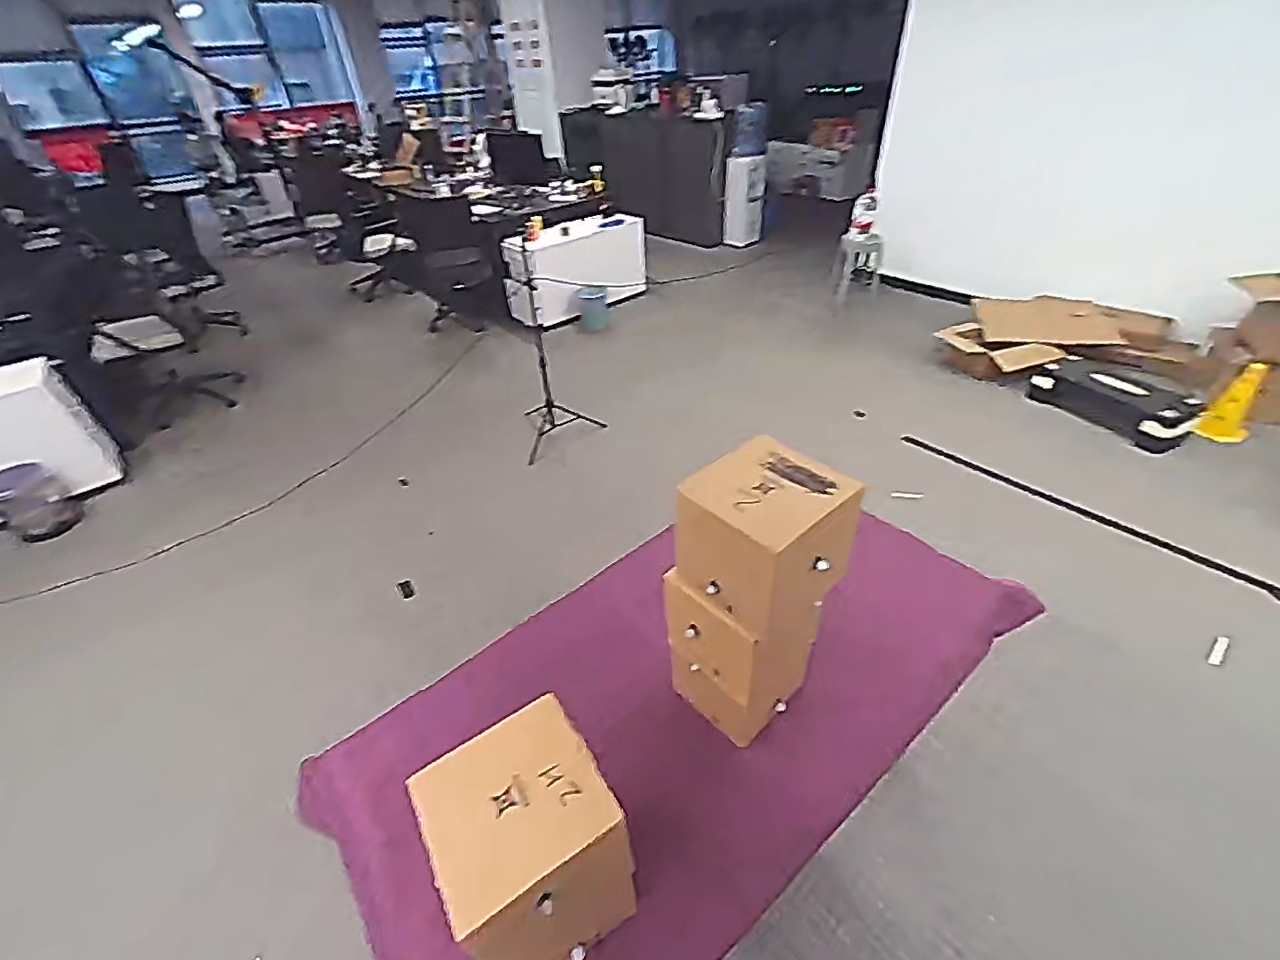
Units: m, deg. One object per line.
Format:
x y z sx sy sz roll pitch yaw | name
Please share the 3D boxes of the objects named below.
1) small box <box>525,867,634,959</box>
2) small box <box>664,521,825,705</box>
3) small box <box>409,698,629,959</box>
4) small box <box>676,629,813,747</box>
-0.120 0.514 0.716 0.168 0.176 0.179 -23 43 -22 | small box
0.157 0.200 0.824 0.179 0.176 0.168 -32 45 -31 | small box
-0.127 0.393 0.604 0.179 0.176 0.168 -24 44 -24 | small box
0.172 0.315 0.940 0.179 0.176 0.168 -31 44 -31 | small box
